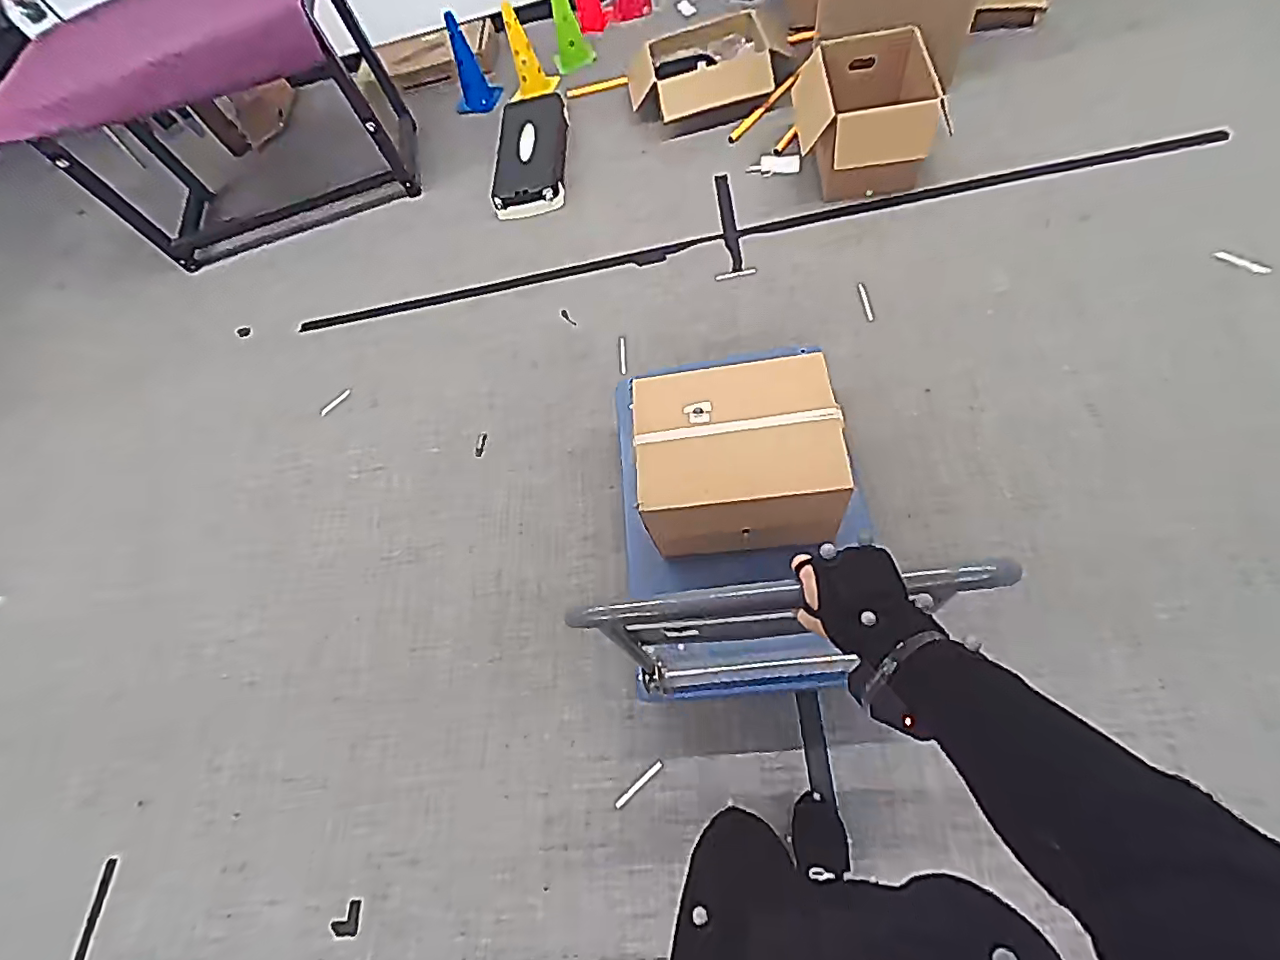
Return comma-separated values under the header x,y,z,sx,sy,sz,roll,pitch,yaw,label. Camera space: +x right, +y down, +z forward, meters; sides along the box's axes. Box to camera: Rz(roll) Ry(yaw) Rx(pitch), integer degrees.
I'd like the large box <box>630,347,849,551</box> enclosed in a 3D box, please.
x,y,z,sx,sy,sz,roll,pitch,yaw,label
0.212,-0.048,1.208,0.408,0.320,0.320,-8,63,10,large box
